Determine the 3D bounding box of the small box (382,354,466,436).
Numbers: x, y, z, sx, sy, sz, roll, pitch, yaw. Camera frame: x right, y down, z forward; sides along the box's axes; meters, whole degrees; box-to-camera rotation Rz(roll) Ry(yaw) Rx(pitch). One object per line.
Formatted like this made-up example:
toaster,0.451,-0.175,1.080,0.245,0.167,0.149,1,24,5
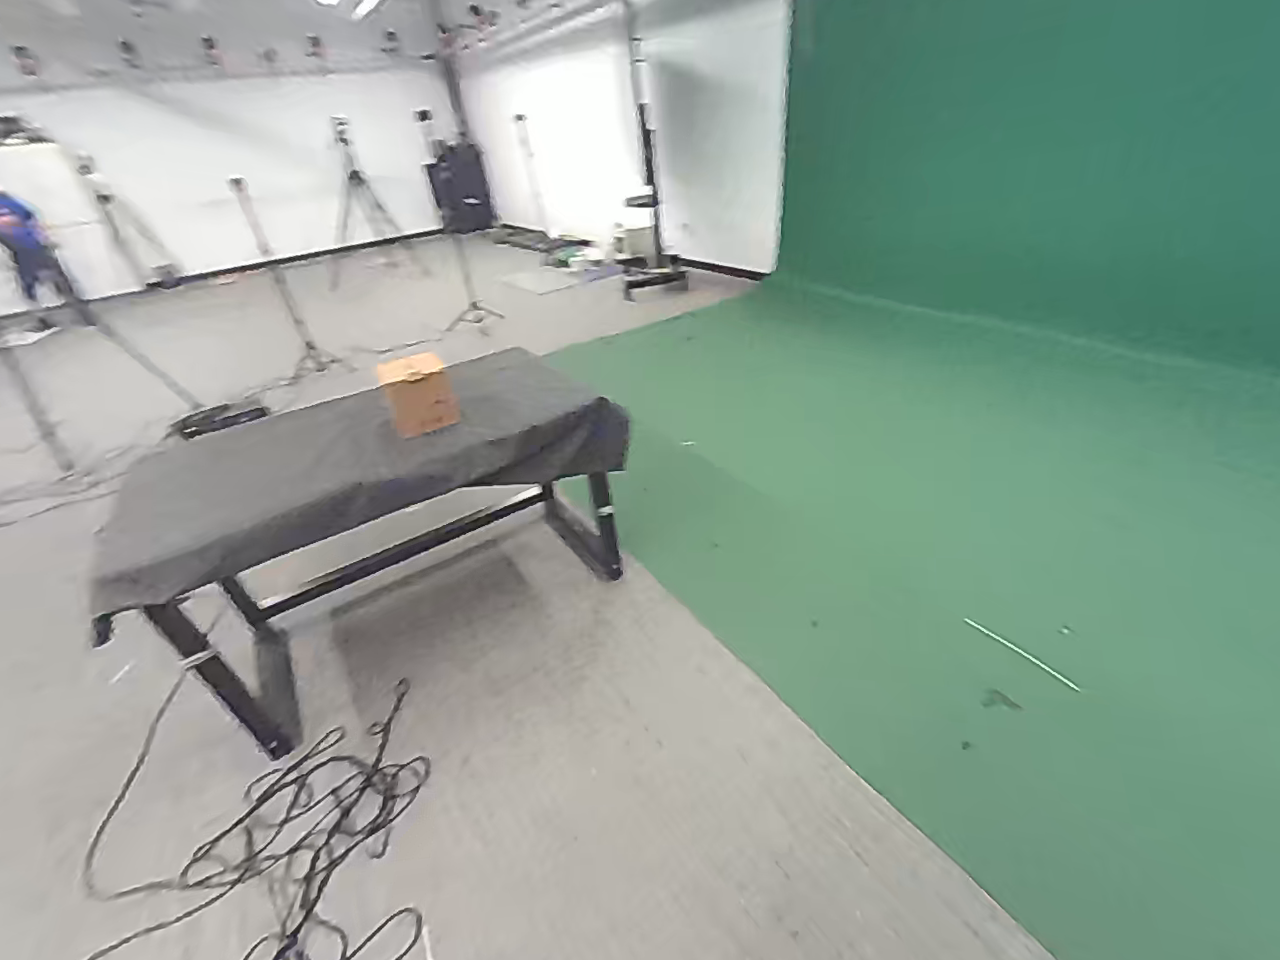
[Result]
small box,-0.611,-0.239,1.536,0.168,0.176,0.179,-21,35,-23
